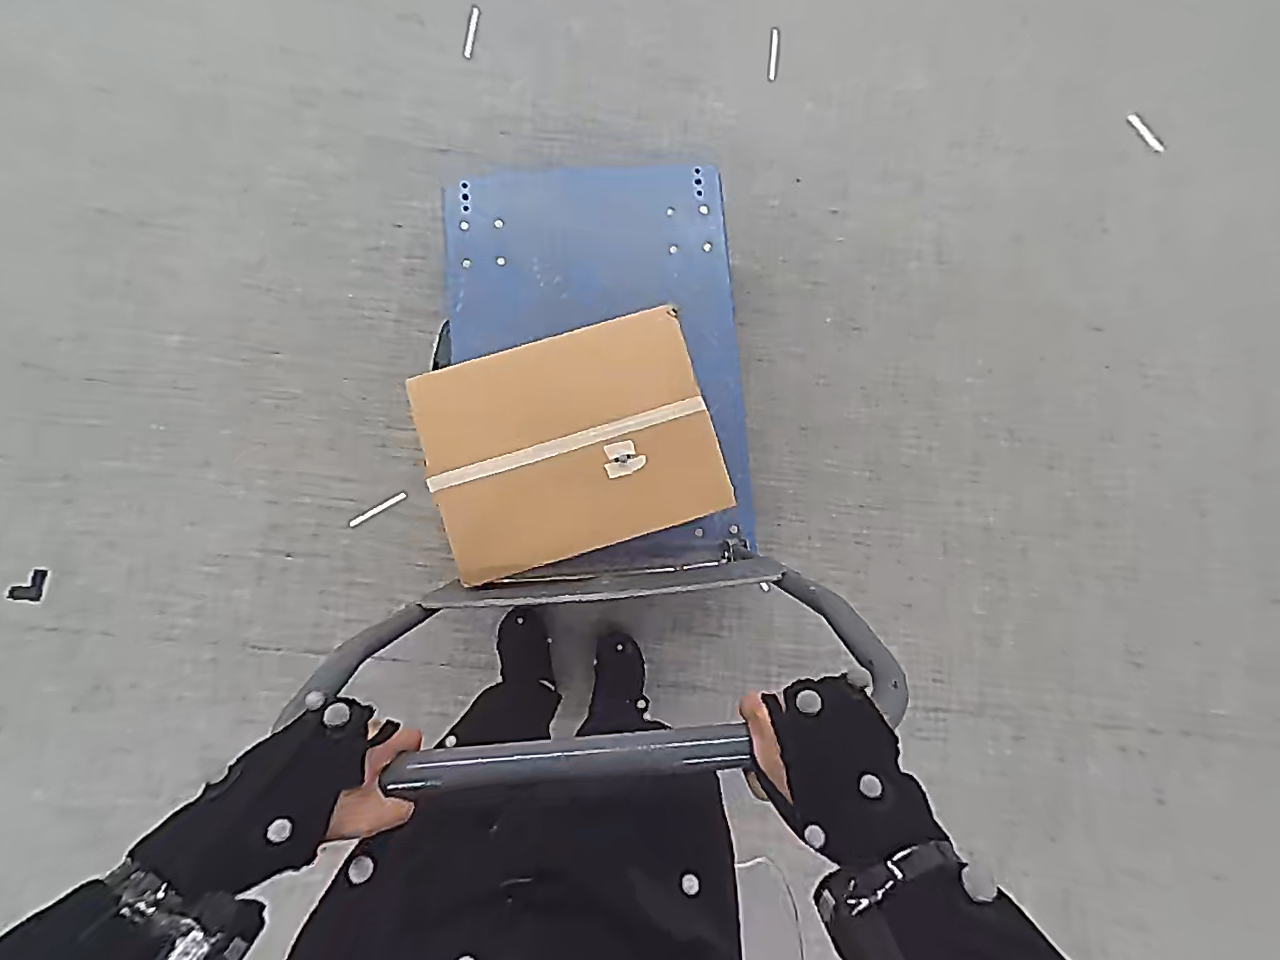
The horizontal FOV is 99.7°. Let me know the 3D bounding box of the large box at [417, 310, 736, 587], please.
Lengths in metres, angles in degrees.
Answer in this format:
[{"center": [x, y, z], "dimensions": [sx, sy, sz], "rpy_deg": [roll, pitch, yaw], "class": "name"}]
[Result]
[{"center": [-0.098, -0.036, 0.927], "dimensions": [0.408, 0.320, 0.320], "rpy_deg": [-17, 86, -4], "class": "large box"}]
